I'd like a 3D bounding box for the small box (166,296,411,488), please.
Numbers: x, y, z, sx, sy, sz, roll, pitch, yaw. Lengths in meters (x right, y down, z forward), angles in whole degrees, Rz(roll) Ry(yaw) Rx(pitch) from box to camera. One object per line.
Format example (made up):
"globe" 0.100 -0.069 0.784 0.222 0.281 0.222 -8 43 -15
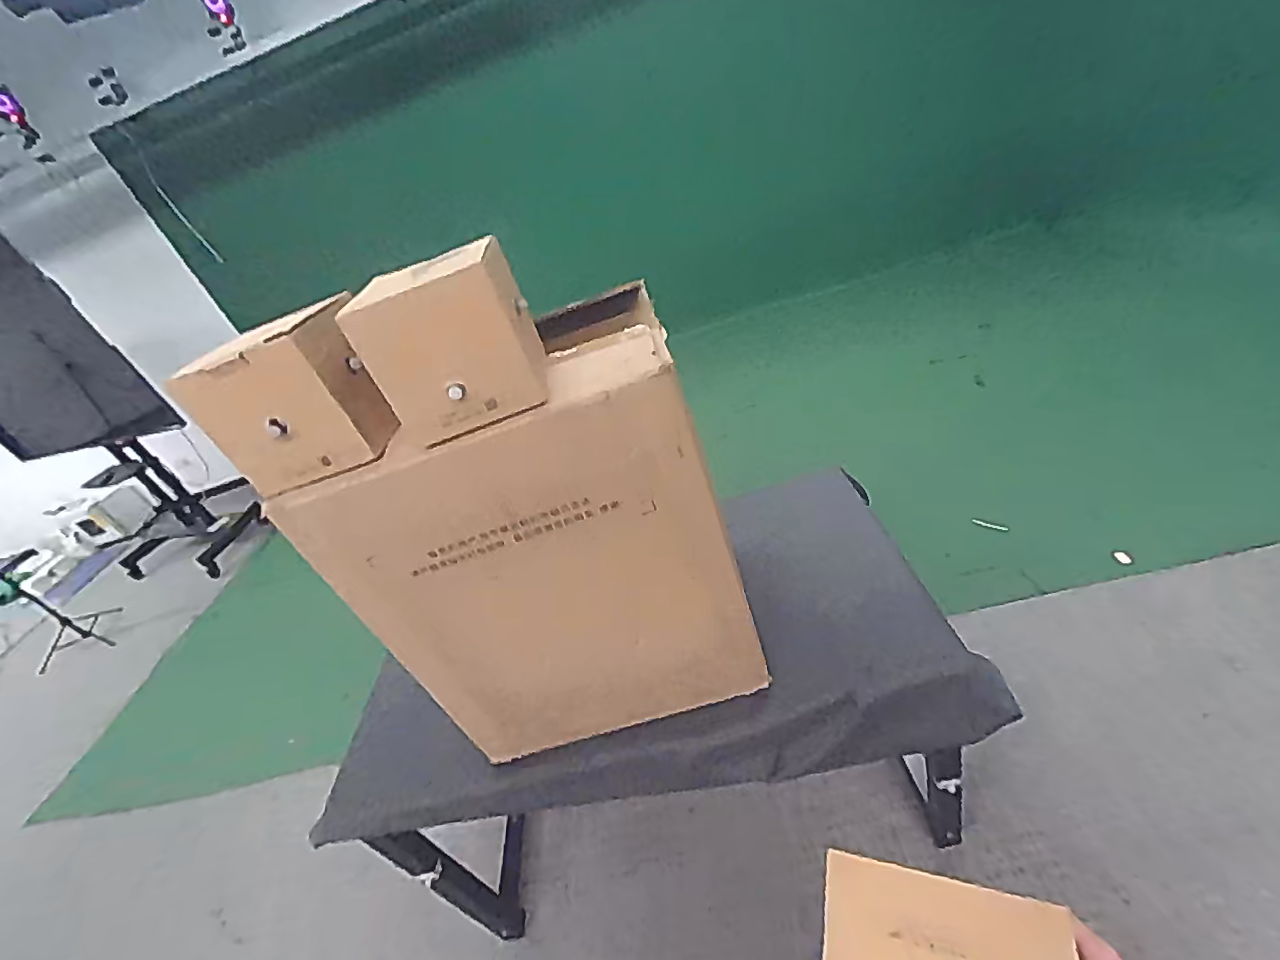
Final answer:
"small box" -0.426 -0.107 0.695 0.168 0.176 0.179 -18 33 7

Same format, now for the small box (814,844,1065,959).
"small box" 0.232 0.424 0.430 0.168 0.176 0.179 -1 49 24
